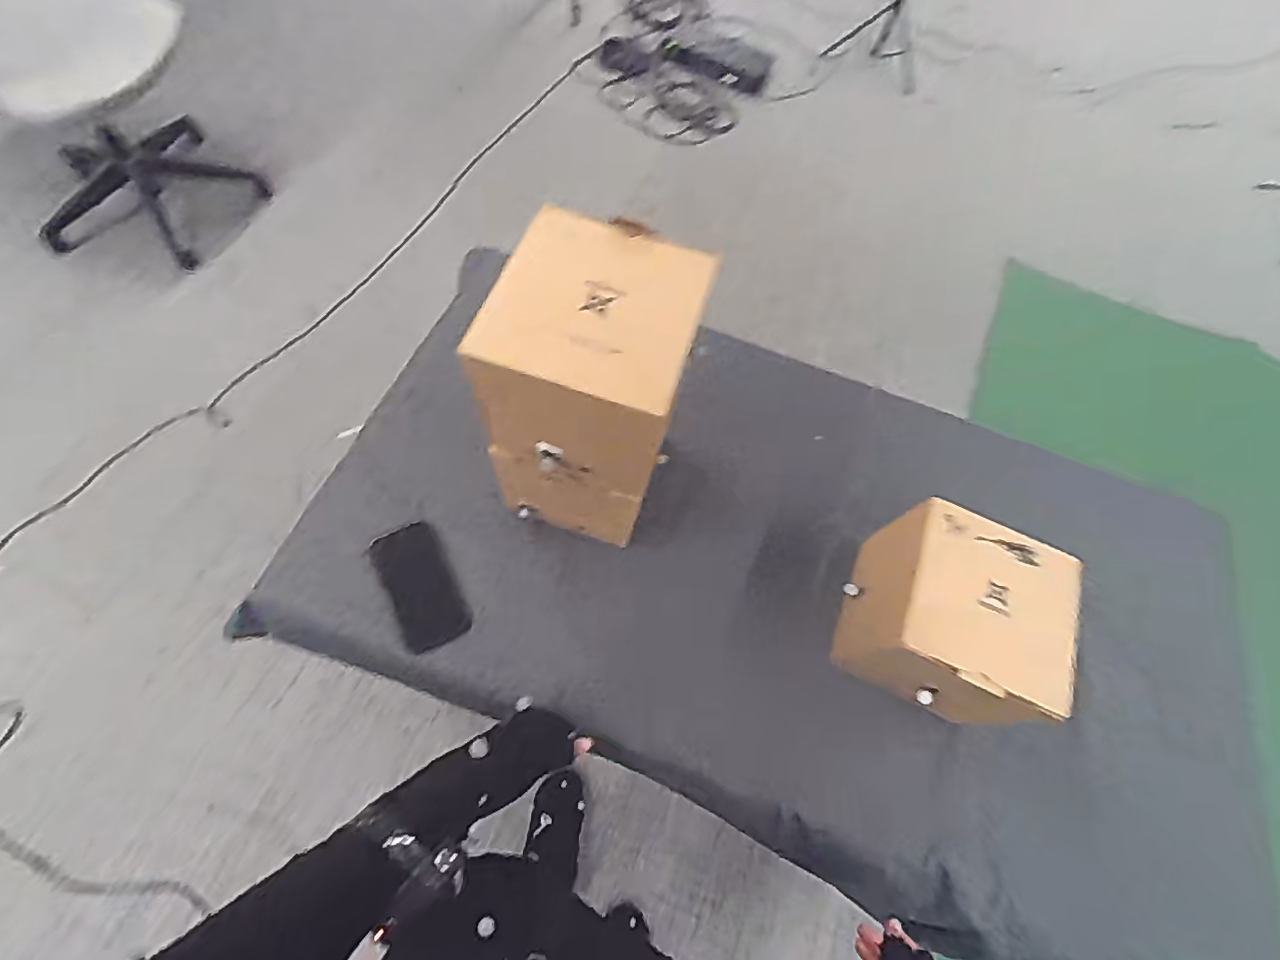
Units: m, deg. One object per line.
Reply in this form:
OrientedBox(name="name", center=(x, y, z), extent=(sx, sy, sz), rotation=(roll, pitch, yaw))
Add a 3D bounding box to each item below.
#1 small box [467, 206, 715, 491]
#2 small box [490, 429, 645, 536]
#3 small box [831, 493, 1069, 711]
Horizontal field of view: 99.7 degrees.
OrientedBox(name="small box", center=(-0.042, -0.115, 0.519), extent=(0.168, 0.176, 0.179), rotation=(17, 67, 2))
OrientedBox(name="small box", center=(-0.063, -0.050, 0.666), extent=(0.168, 0.176, 0.179), rotation=(19, 65, 1))
OrientedBox(name="small box", center=(0.345, 0.149, 0.629), extent=(0.168, 0.176, 0.179), rotation=(25, 66, 4))
